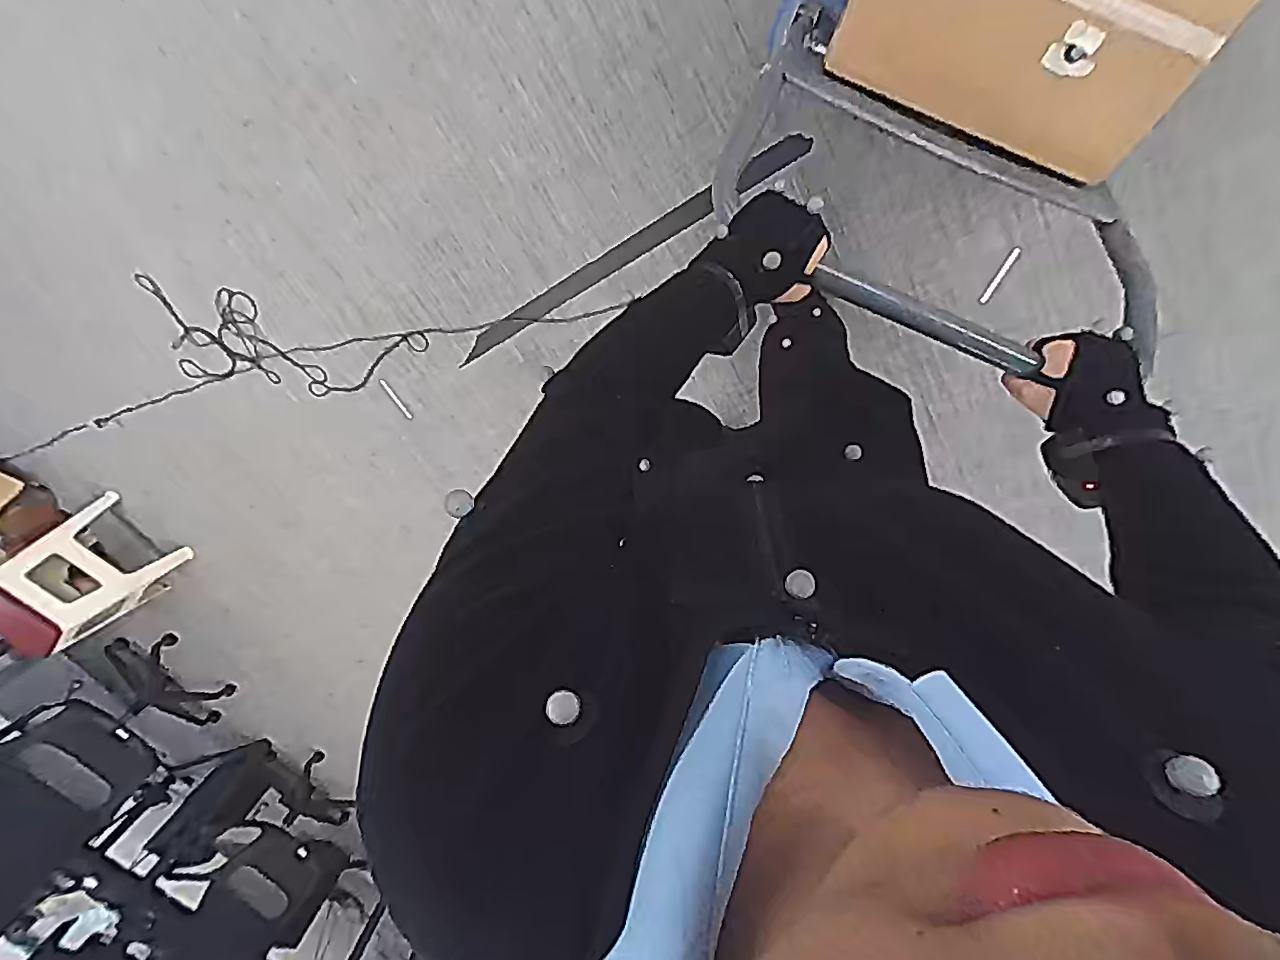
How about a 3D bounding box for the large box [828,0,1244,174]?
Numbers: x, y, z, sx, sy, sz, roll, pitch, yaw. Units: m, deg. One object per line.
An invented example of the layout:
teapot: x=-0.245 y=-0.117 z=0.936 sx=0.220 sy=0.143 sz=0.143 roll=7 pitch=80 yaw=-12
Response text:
large box: x=0.512 y=-0.685 z=0.720 sx=0.408 sy=0.320 sz=0.320 roll=23 pitch=139 yaw=-1
